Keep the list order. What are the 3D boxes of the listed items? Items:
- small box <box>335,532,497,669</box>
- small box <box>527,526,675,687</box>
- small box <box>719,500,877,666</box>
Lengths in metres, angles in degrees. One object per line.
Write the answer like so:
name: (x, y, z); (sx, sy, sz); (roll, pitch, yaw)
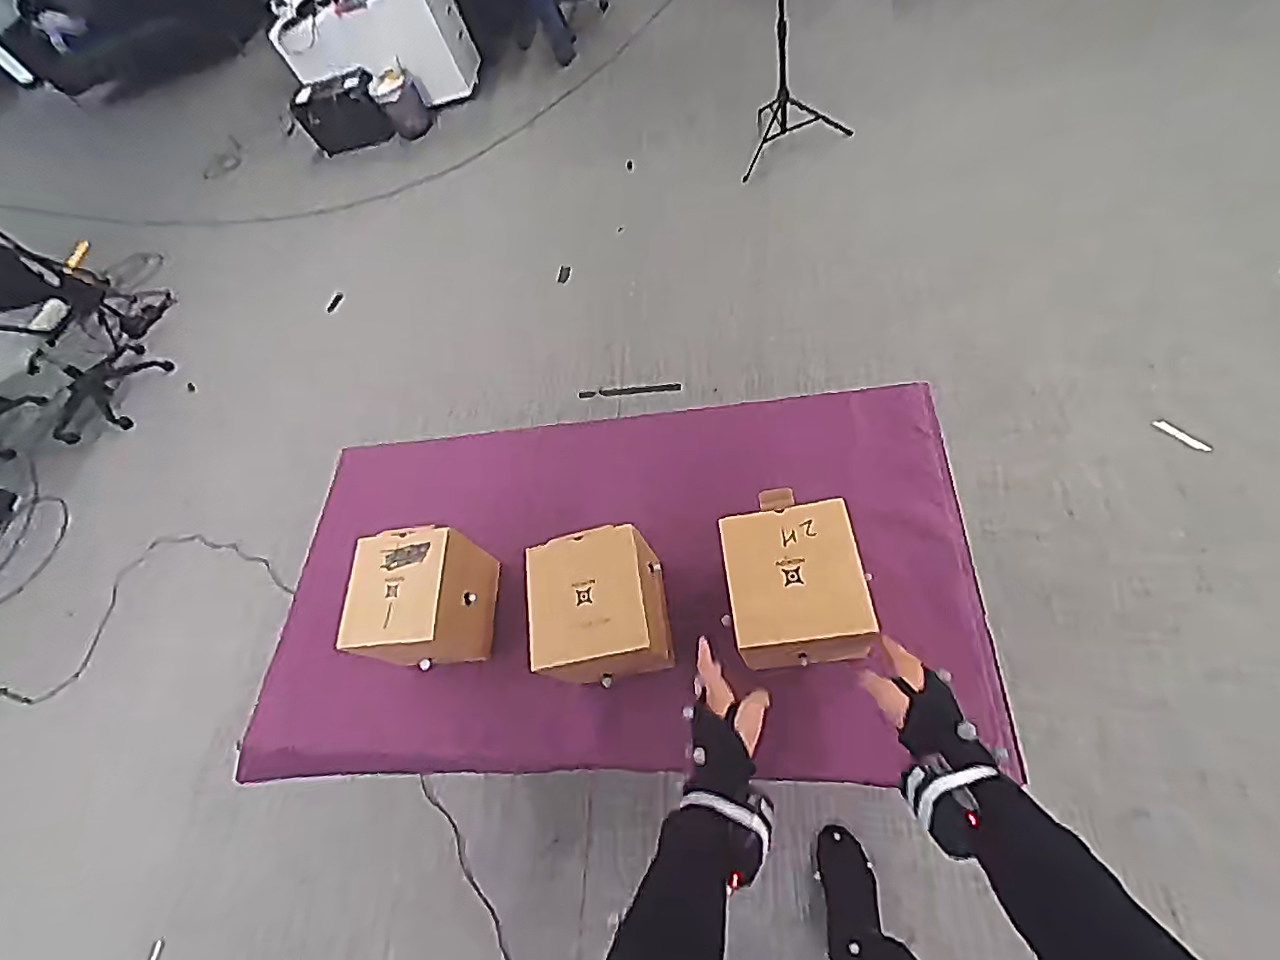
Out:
small box: (-0.350, 0.202, 0.883); (0.168, 0.176, 0.179); (-9, 62, 13)
small box: (-0.055, 0.193, 0.799); (0.168, 0.176, 0.179); (-15, 60, 10)
small box: (0.211, 0.151, 0.738); (0.168, 0.176, 0.179); (-11, 60, 11)
